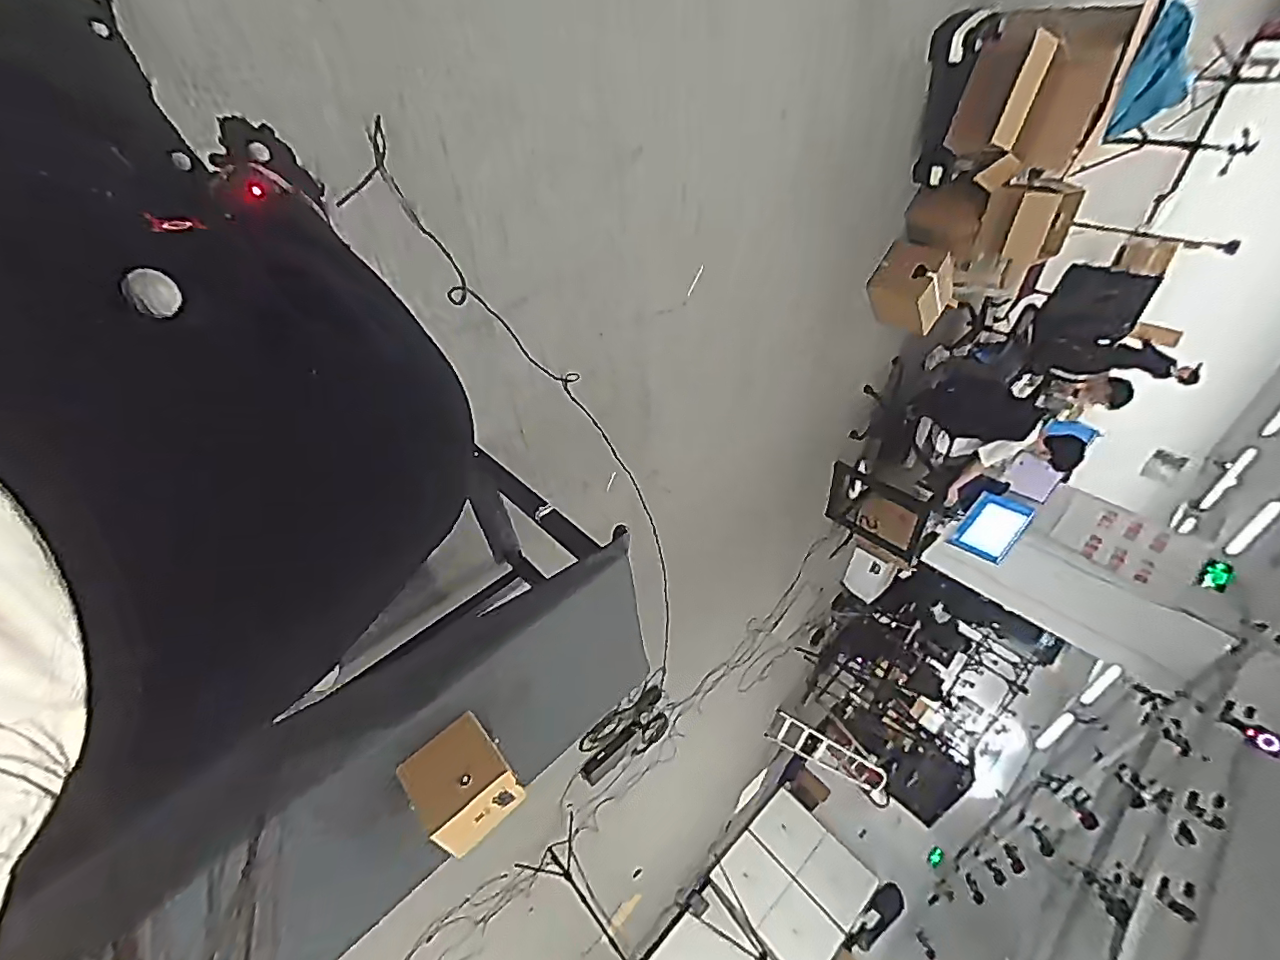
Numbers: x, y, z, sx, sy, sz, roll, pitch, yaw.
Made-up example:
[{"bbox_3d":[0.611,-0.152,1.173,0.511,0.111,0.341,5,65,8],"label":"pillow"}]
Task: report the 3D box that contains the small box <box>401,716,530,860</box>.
[{"bbox_3d":[-0.363,0.638,1.134,0.179,0.176,0.168,-35,139,-26],"label":"small box"}]
